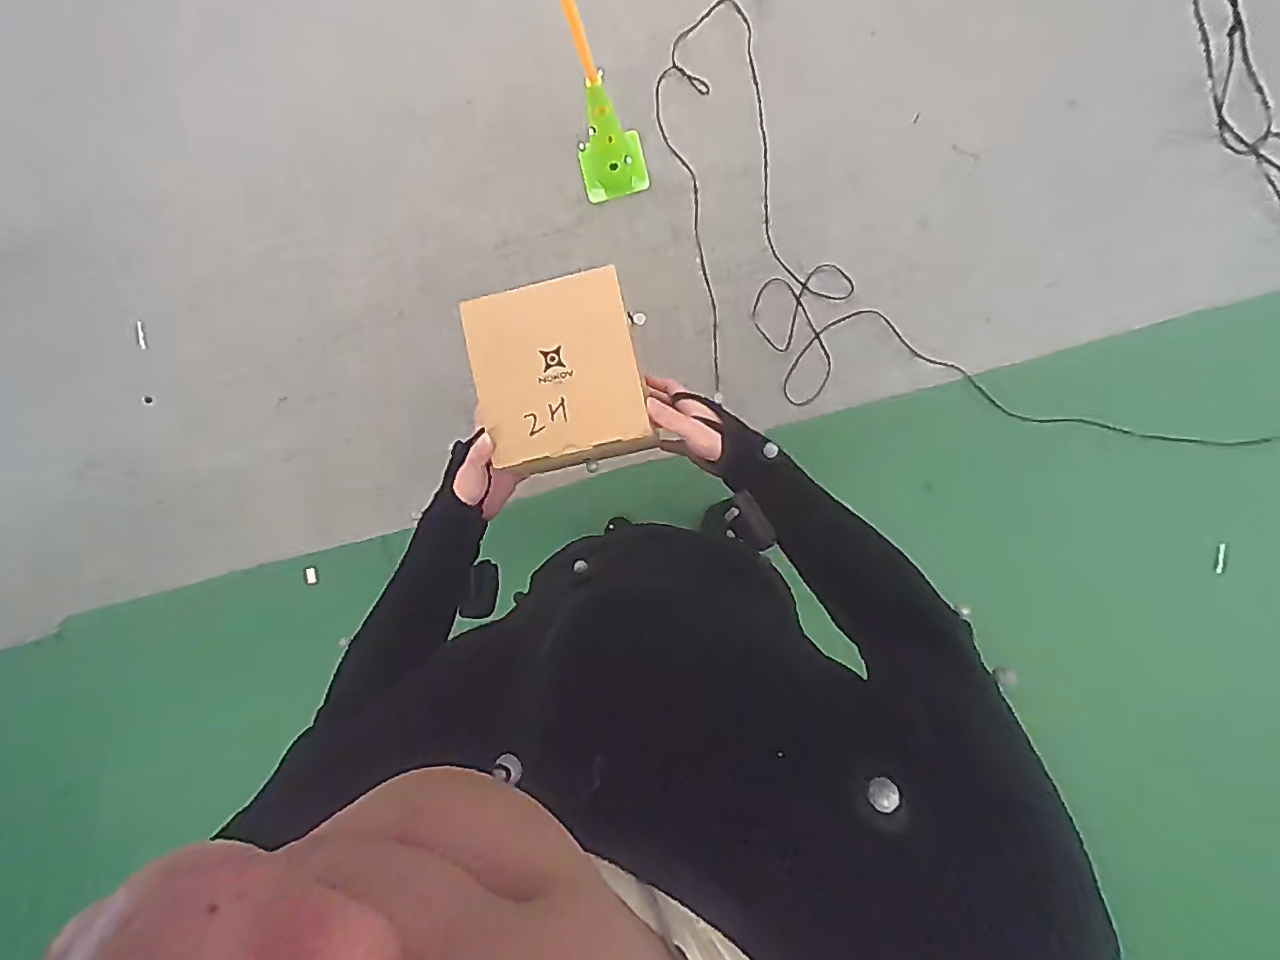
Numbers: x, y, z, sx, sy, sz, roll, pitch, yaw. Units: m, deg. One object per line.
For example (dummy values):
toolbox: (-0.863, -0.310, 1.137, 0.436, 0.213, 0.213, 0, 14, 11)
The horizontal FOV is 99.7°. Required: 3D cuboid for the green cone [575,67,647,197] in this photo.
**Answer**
green cone: (-0.104, -1.015, 1.544, 0.202, 0.368, 0.200, -14, 87, 3)
